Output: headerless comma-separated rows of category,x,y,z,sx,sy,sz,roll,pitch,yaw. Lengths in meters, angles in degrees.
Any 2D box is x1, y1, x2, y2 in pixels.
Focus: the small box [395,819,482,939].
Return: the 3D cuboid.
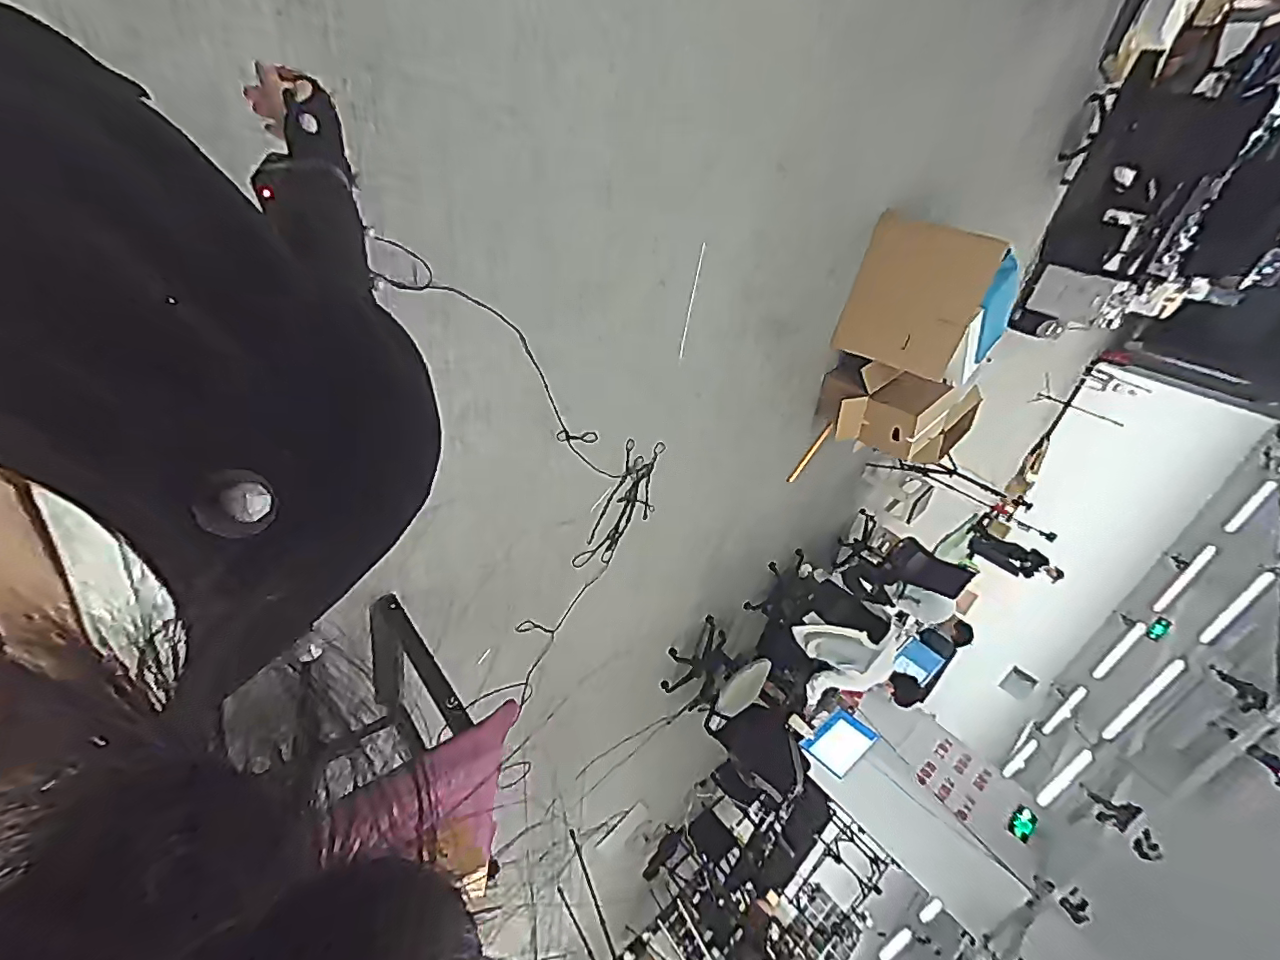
small box,-0.548,1.062,1.458,0.168,0.176,0.179,-13,128,-42
